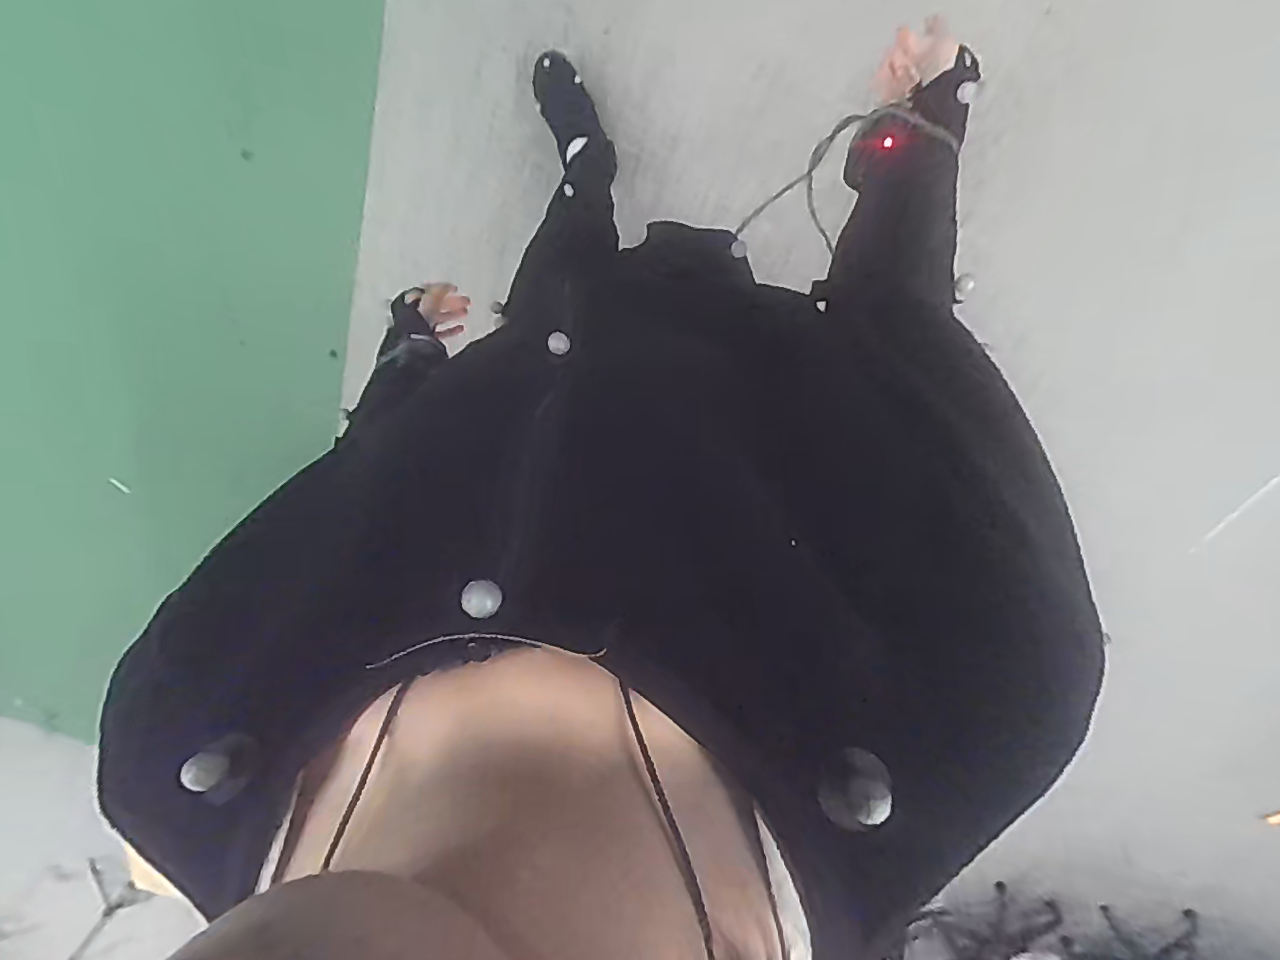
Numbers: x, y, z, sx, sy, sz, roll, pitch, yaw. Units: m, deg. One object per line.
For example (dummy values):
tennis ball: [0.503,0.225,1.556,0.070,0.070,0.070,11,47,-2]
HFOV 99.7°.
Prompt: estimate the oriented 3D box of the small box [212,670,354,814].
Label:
small box: [-0.686,0.504,1.053,0.168,0.176,0.179,23,121,-9]
